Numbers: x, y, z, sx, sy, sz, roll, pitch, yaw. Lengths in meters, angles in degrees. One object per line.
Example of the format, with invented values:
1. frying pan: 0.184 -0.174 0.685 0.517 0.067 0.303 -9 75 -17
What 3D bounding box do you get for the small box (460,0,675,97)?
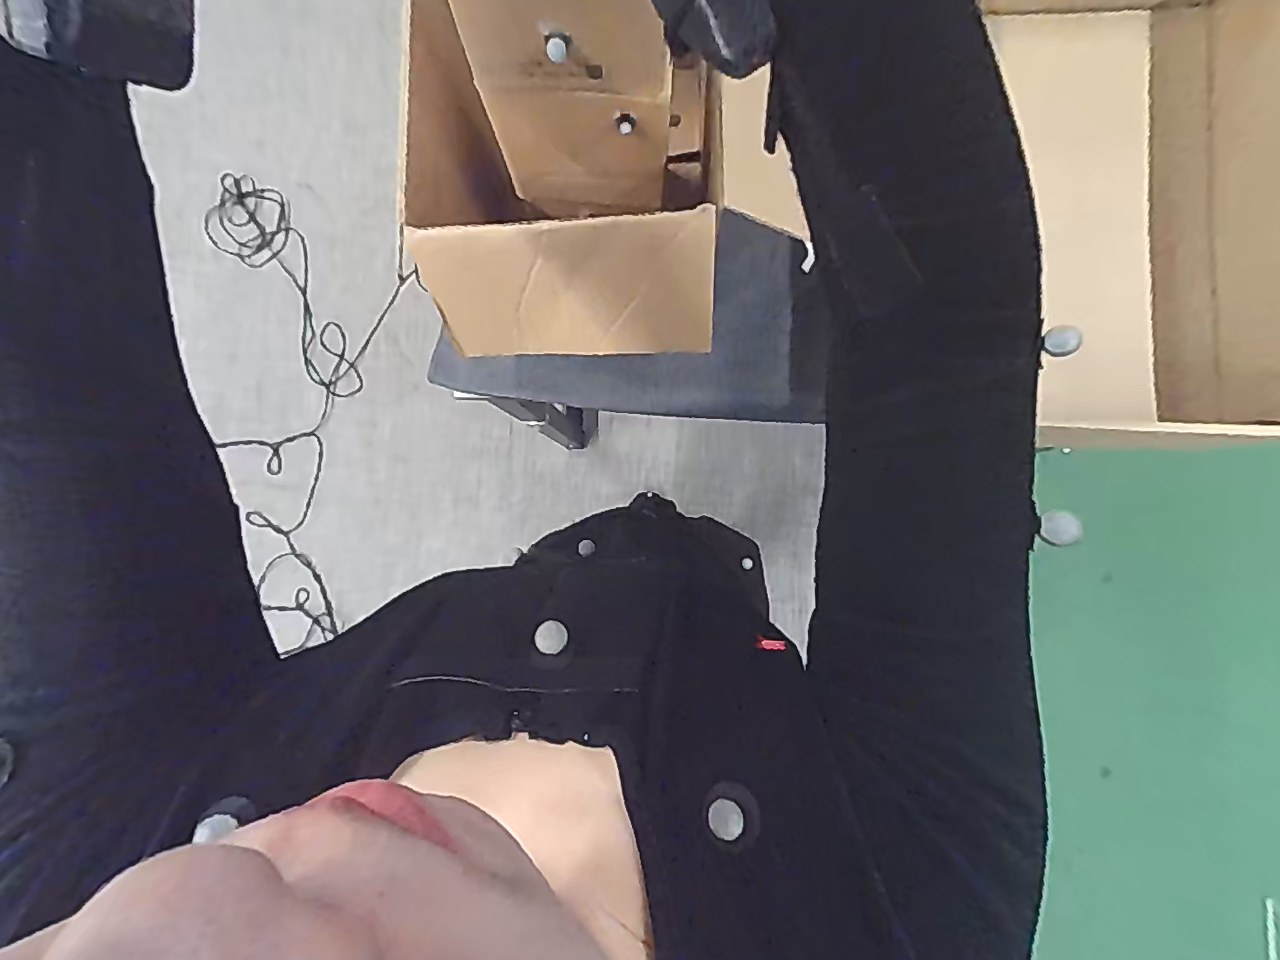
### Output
1. small box: -0.055 -0.433 0.401 0.168 0.176 0.179 1 85 -1
